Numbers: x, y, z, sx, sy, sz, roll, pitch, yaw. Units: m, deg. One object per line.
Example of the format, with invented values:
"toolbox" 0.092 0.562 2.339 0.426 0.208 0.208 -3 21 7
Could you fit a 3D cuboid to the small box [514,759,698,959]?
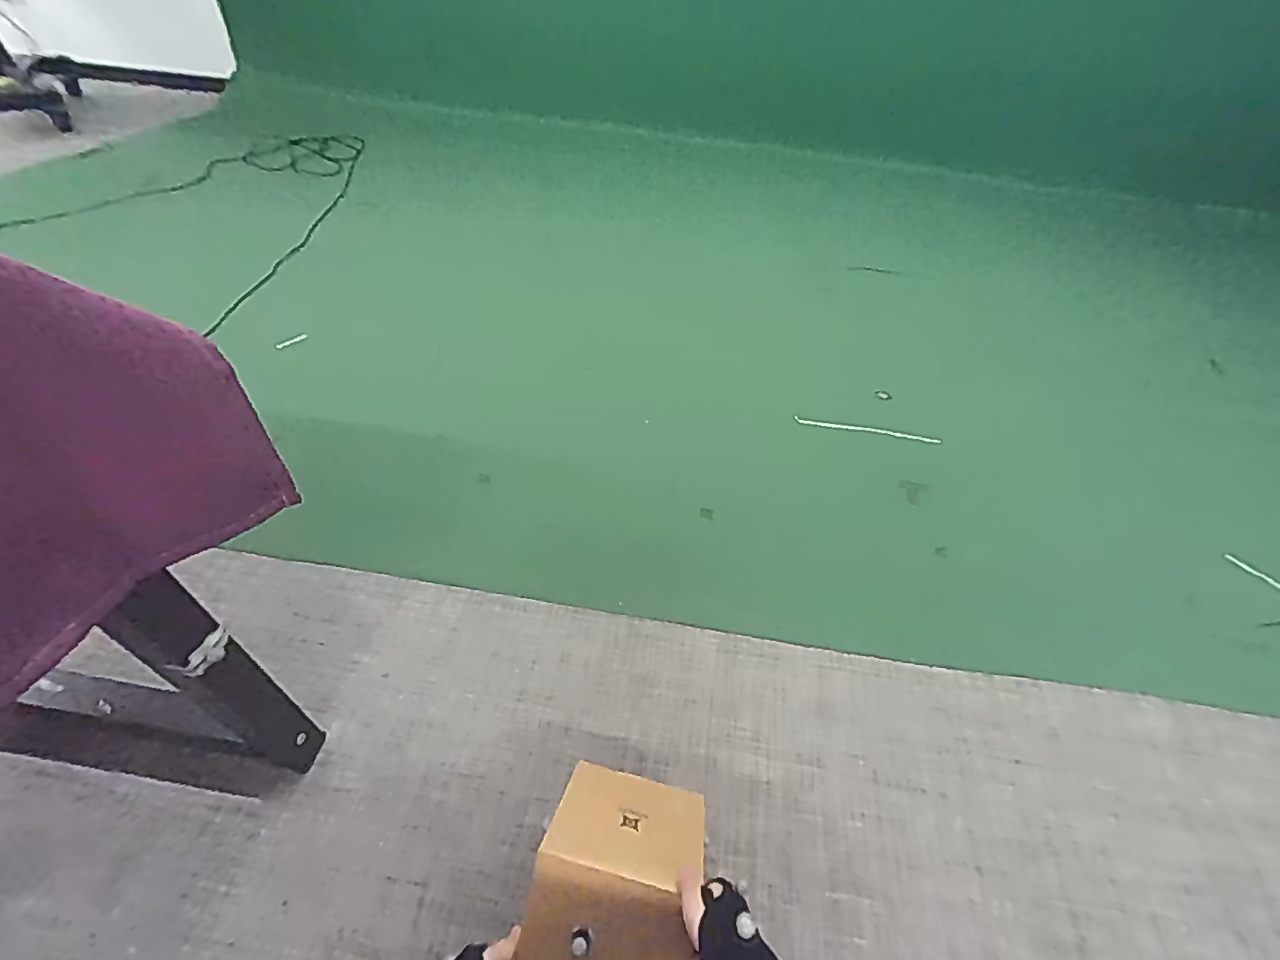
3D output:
"small box" -0.031 0.457 0.607 0.168 0.176 0.179 12 1 6
